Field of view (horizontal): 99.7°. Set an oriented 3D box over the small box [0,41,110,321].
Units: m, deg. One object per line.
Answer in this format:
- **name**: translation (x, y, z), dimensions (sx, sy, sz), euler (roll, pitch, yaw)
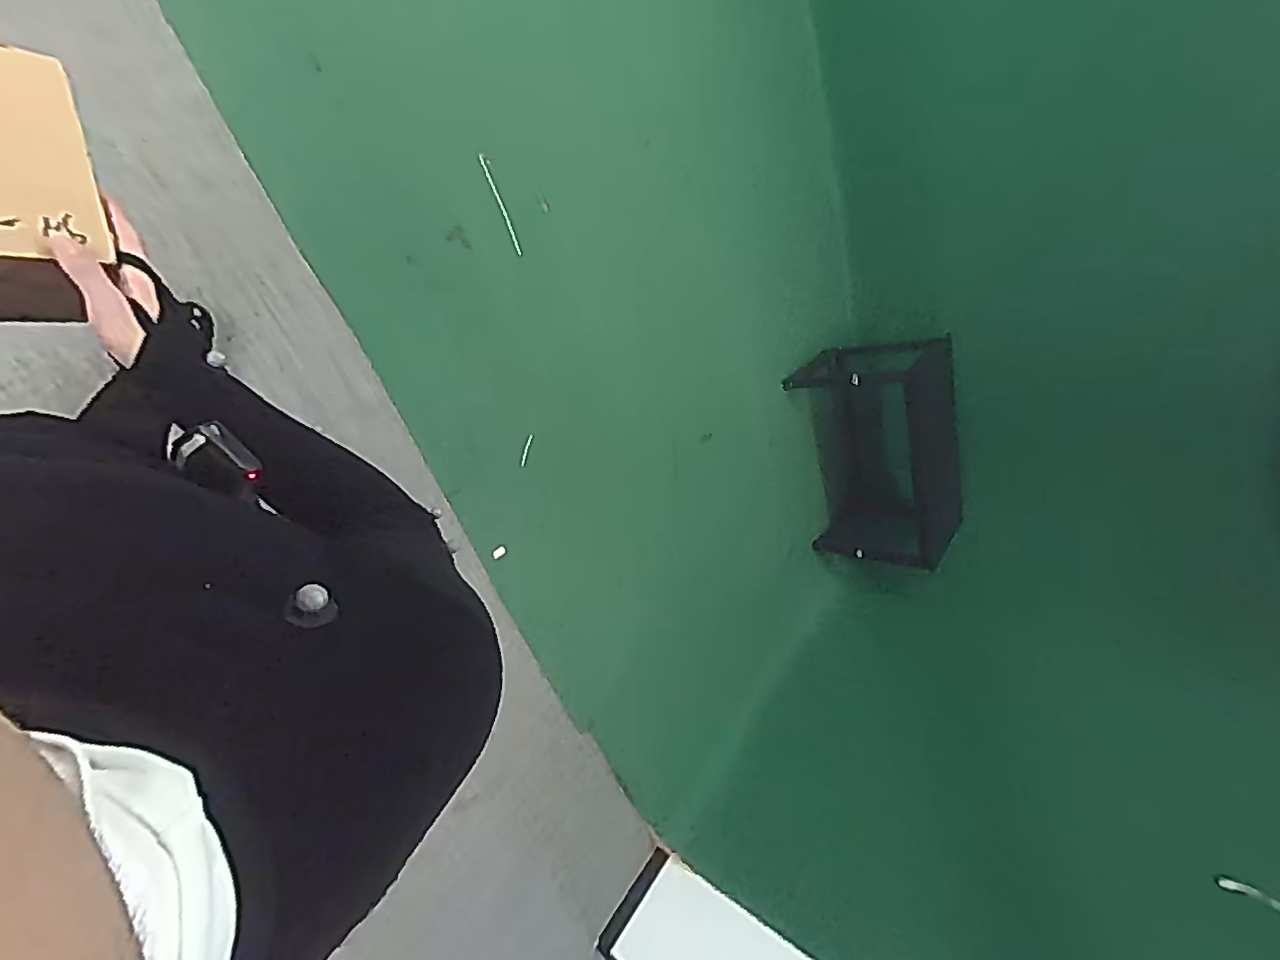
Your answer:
- **small box**: translation (-0.583, -0.247, 0.451), dimensions (0.168, 0.176, 0.179), euler (-17, 97, -47)
